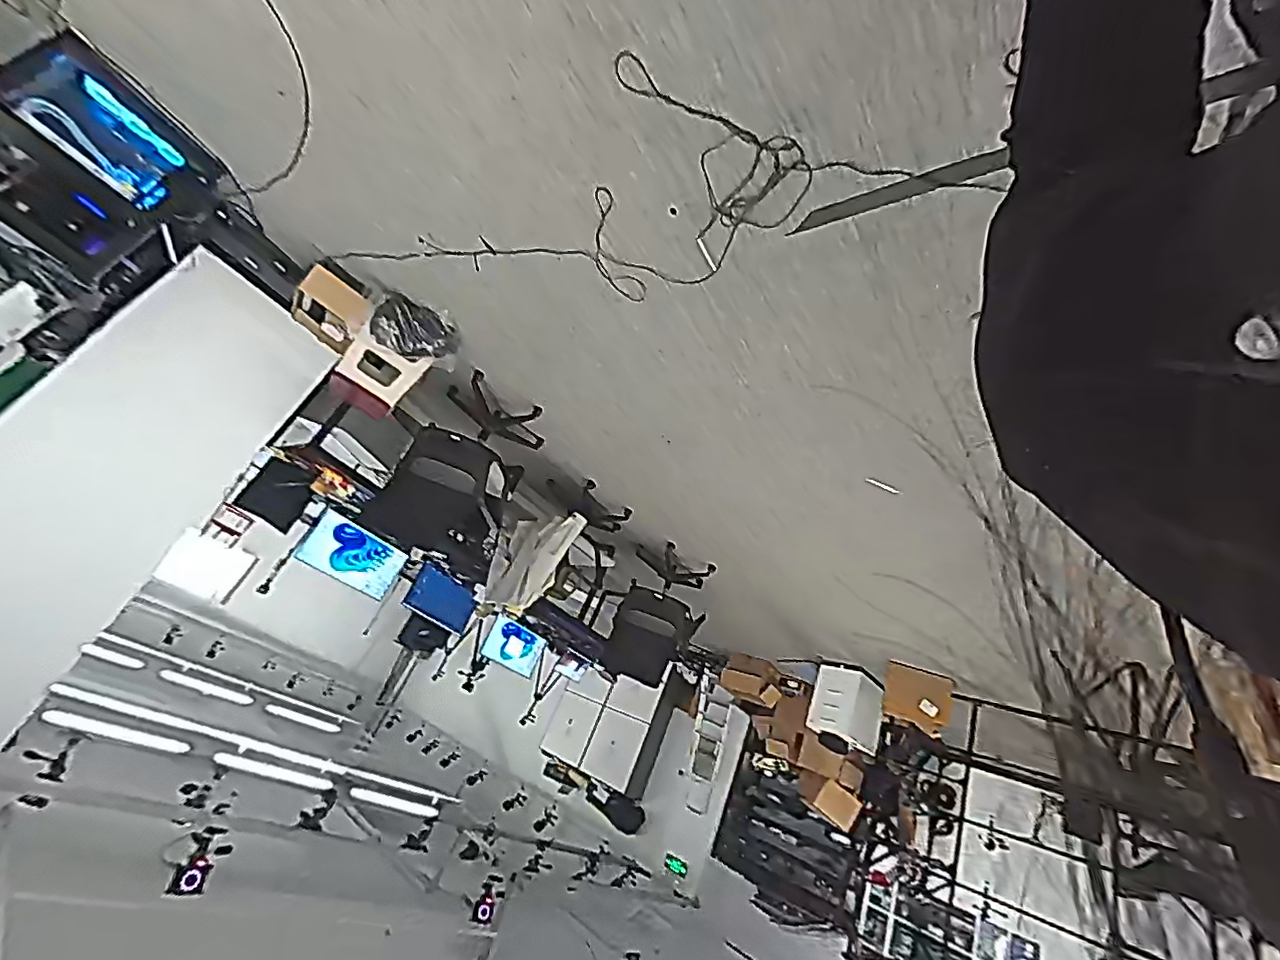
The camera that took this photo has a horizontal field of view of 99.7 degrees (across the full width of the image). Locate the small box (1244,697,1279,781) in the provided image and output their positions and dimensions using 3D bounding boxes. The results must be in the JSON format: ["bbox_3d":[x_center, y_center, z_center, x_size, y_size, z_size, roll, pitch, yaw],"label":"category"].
[{"bbox_3d":[1.711,0.689,1.402,0.168,0.176,0.179,4,149,37],"label":"small box"}]

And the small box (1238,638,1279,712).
[{"bbox_3d":[1.765,0.545,1.463,0.179,0.176,0.168,2,148,39],"label":"small box"}]
